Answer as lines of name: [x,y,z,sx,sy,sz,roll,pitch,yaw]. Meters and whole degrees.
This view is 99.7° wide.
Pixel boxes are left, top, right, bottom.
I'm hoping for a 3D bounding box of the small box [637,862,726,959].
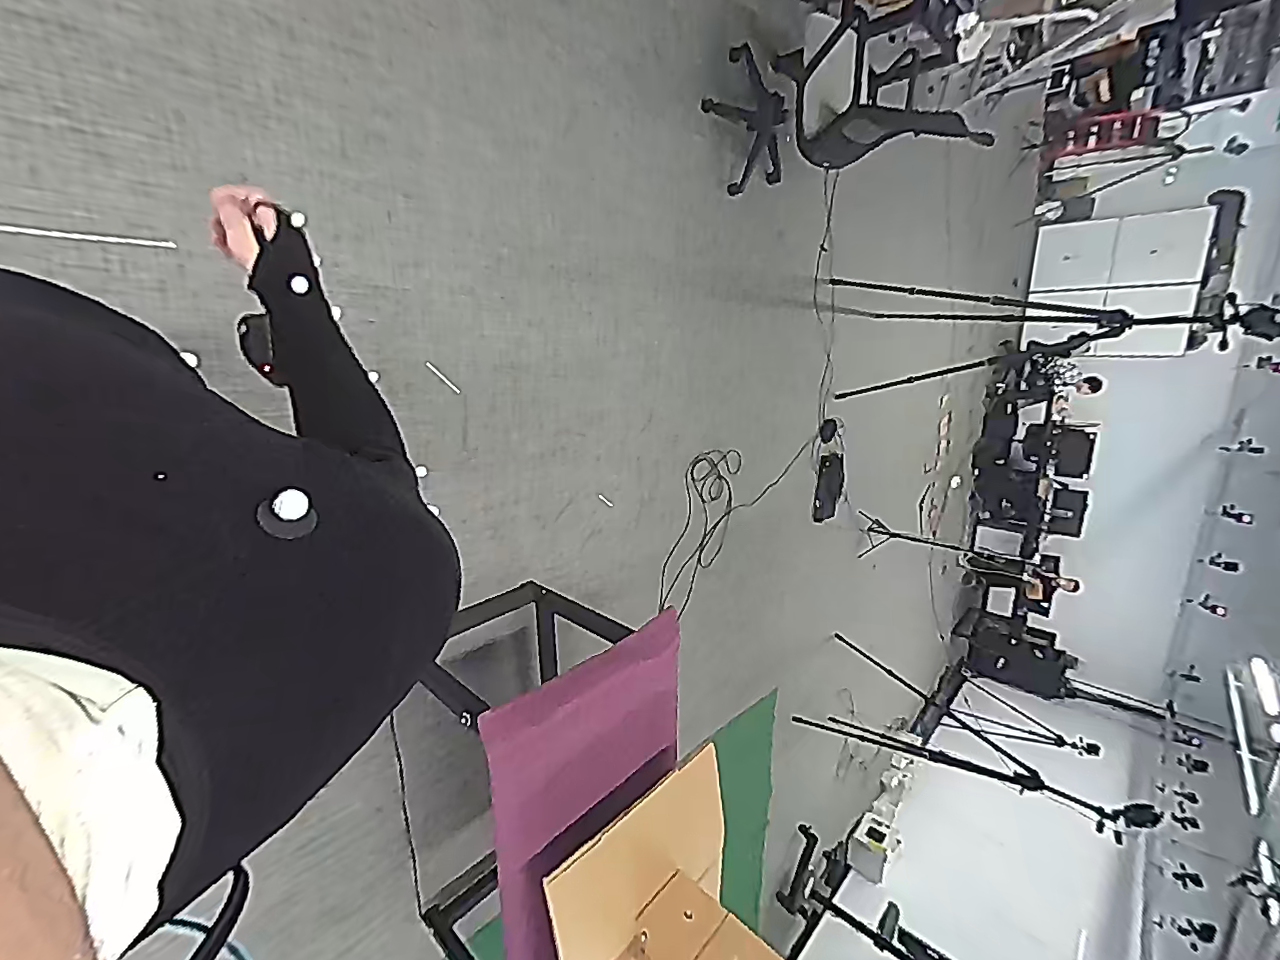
small box: [0.105,1.176,1.426,0.179,0.176,0.168,-18,116,-44]
